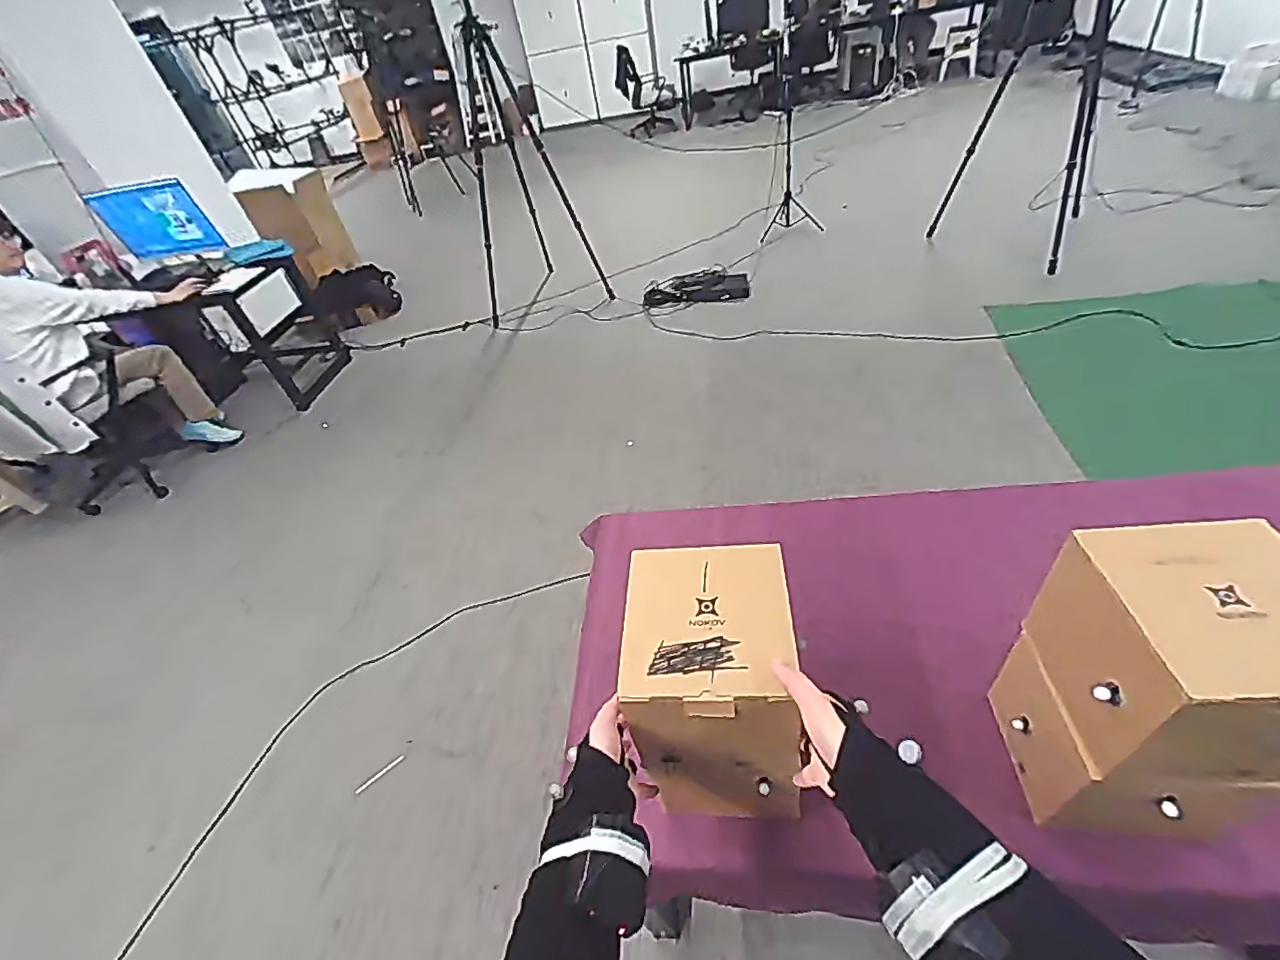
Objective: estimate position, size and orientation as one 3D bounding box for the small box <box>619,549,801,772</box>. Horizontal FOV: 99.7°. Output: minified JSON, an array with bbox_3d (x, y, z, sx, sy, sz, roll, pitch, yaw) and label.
[{"bbox_3d":[0.080,0.197,0.588,0.168,0.176,0.179,-4,41,9],"label":"small box"}]

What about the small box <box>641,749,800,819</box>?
[{"bbox_3d":[0.105,0.319,0.696,0.179,0.176,0.168,-4,42,9],"label":"small box"}]

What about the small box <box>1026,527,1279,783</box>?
[{"bbox_3d":[0.511,0.167,0.511,0.168,0.176,0.179,-4,42,9],"label":"small box"}]

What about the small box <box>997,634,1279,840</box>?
[{"bbox_3d":[0.537,0.290,0.616,0.179,0.176,0.168,-3,43,11],"label":"small box"}]
